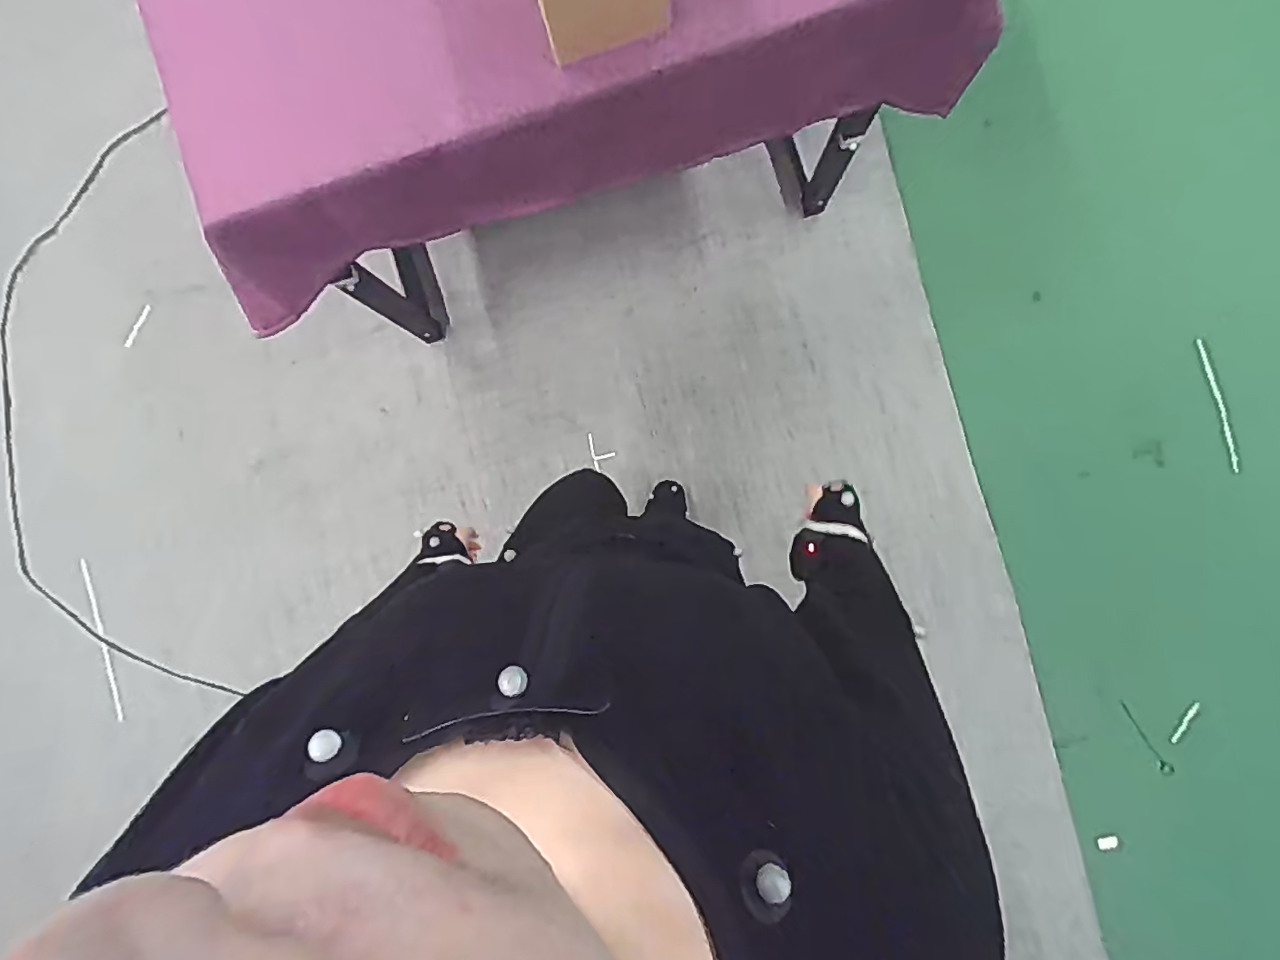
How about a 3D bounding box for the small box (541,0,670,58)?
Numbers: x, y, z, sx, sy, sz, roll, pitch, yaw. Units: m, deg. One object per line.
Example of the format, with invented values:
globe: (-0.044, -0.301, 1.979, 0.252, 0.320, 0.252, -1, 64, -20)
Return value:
small box: (-0.061, -0.711, 0.714, 0.179, 0.176, 0.168, -15, 89, 2)
